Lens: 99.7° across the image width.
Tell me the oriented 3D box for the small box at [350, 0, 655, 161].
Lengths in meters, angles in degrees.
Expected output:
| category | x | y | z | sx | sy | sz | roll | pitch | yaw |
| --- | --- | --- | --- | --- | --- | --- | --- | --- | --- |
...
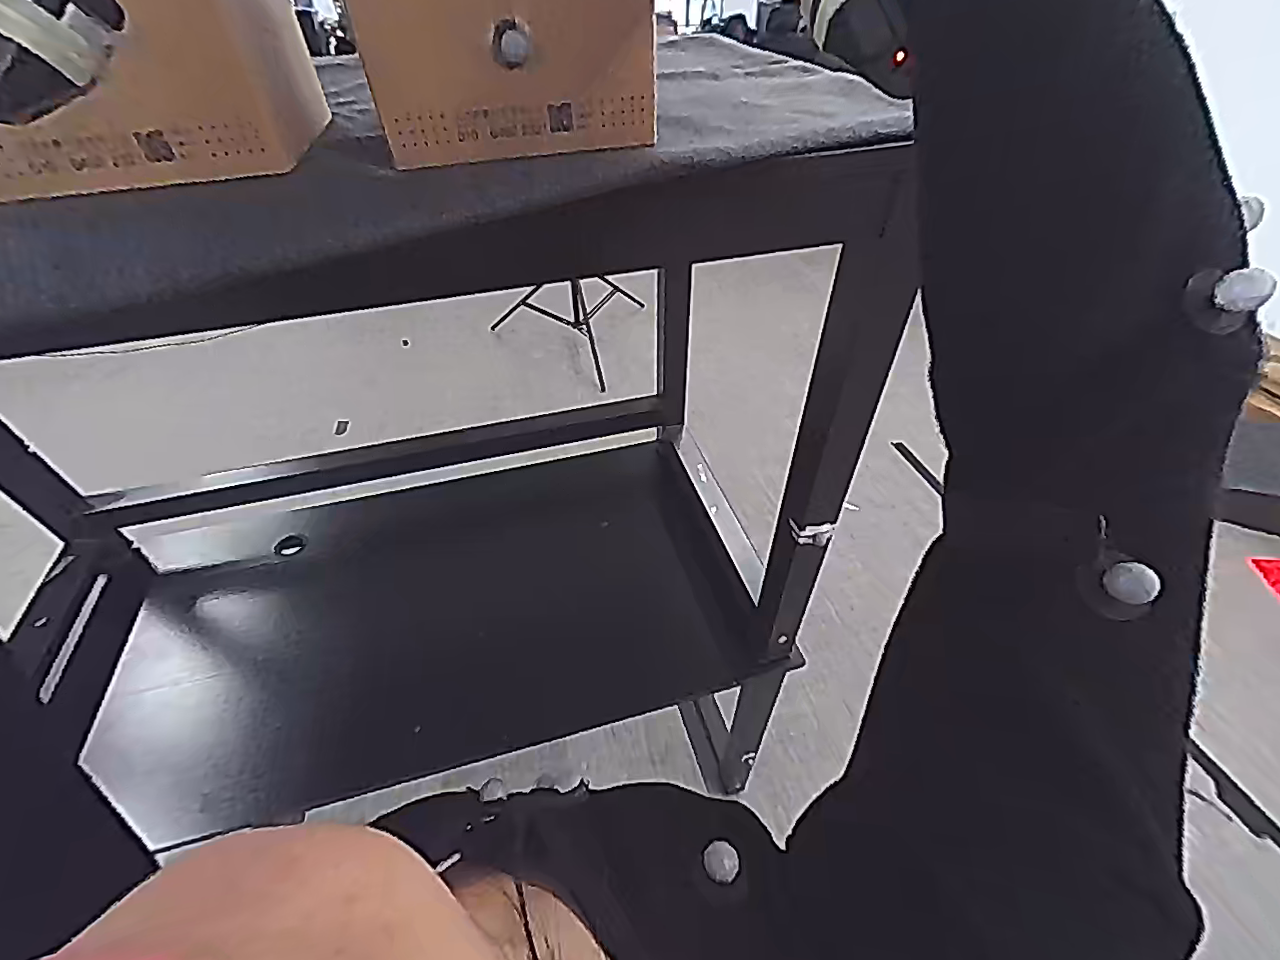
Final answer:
| category | x | y | z | sx | sy | sz | roll | pitch | yaw |
| --- | --- | --- | --- | --- | --- | --- | --- | --- | --- |
| small box | -0.091 | -0.318 | 0.341 | 0.168 | 0.176 | 0.179 | -12 | 45 | -8 |
